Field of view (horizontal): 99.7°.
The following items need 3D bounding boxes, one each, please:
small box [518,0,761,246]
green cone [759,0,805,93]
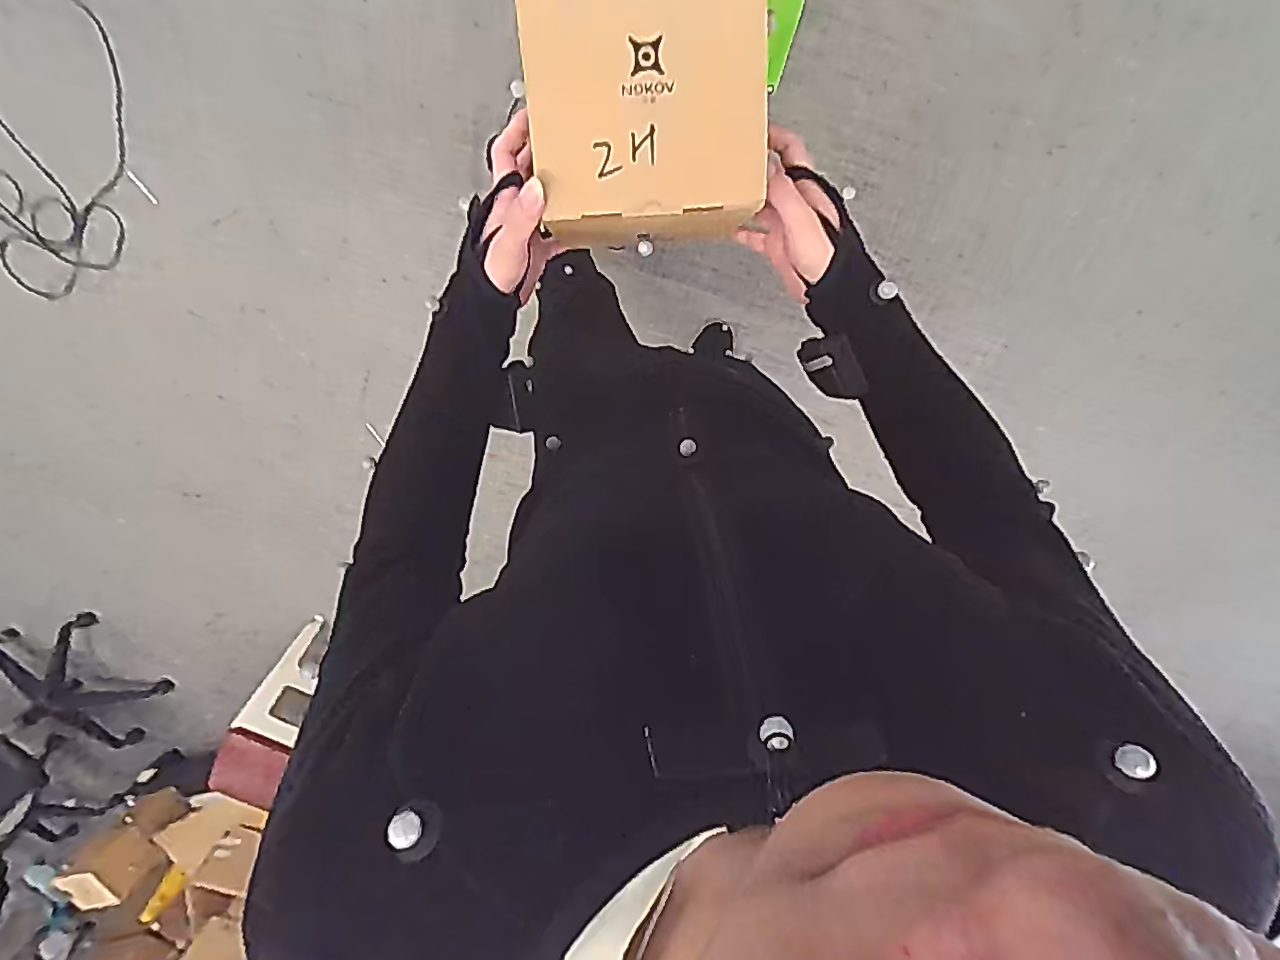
[{"bbox_3d":[-0.001,-0.301,0.448,0.168,0.176,0.179,-3,107,0],"label":"small box"},{"bbox_3d":[0.242,-0.961,1.079,0.202,0.368,0.200,16,112,-2],"label":"green cone"}]
